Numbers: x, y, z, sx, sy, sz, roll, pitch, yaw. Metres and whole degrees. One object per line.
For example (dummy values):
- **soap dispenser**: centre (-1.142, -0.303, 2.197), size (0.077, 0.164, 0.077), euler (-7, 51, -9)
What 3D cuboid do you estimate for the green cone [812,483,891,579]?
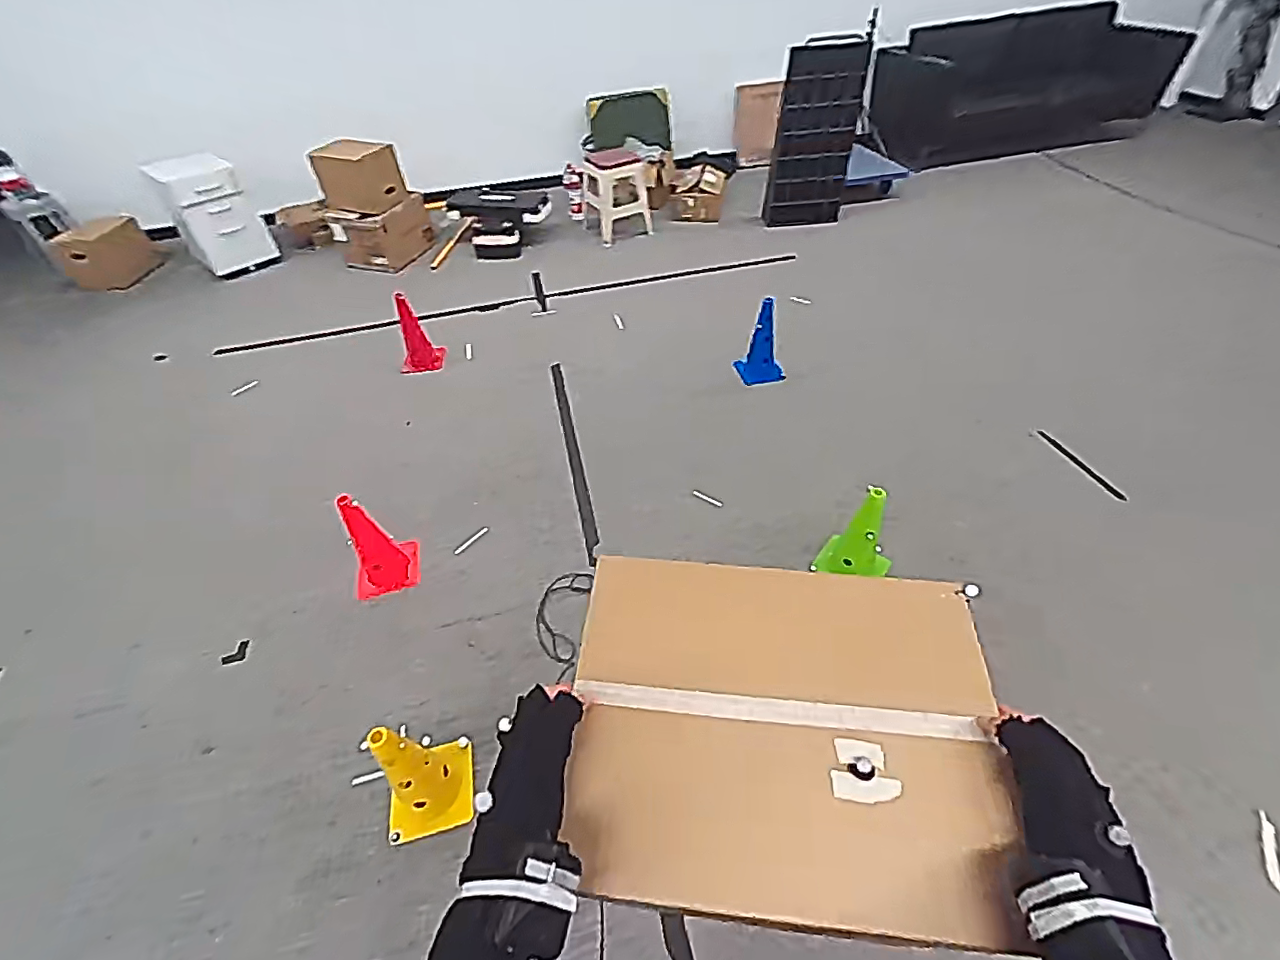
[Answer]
- **green cone**: centre (0.678, 0.153, 1.625), size (0.200, 0.368, 0.202), euler (29, 53, 27)

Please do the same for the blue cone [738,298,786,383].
- **blue cone**: centre (0.564, -0.634, 2.430), size (0.192, 0.380, 0.193), euler (-9, 46, -6)

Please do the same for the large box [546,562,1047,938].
- **large box**: centre (0.133, 0.318, 0.637), size (0.408, 0.320, 0.320), euler (3, 51, 5)

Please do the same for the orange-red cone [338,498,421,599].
- **orange-red cone**: centre (-0.857, 0.186, 1.715), size (0.198, 0.360, 0.199), euler (-14, 48, -8)

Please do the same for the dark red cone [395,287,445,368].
- **dark red cone**: centre (-1.095, -0.734, 2.603), size (0.201, 0.394, 0.202), euler (-7, 46, -4)
